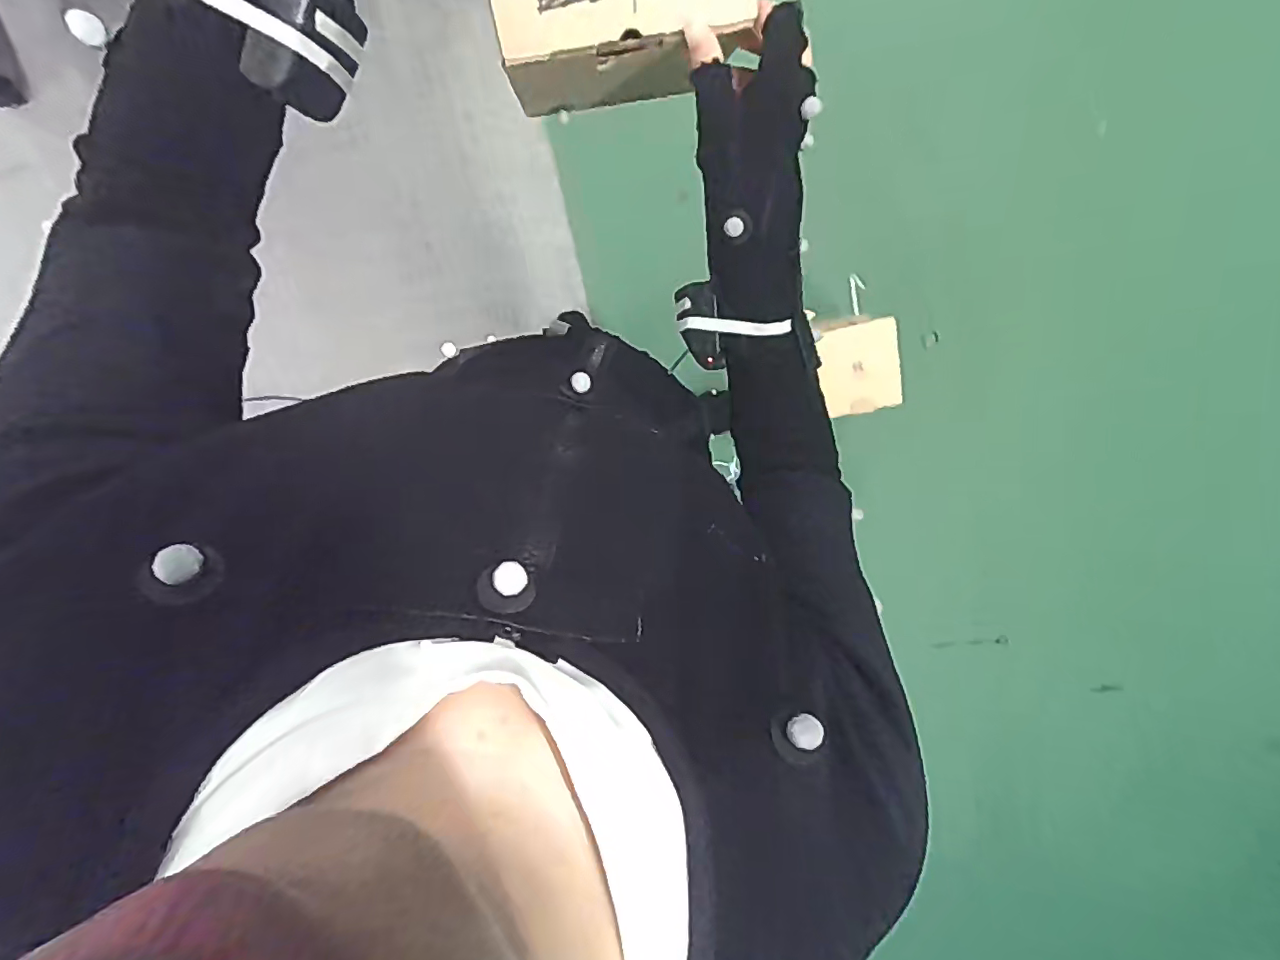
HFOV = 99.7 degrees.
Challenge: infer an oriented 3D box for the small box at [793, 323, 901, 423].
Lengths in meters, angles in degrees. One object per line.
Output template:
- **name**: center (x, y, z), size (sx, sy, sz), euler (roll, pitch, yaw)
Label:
- **small box**: center (0.439, -0.235, 1.165), size (0.168, 0.176, 0.179), euler (-11, 107, 5)

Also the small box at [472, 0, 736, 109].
- **small box**: center (-0.037, -0.386, 0.383), size (0.168, 0.176, 0.179), euler (-11, 113, -2)
